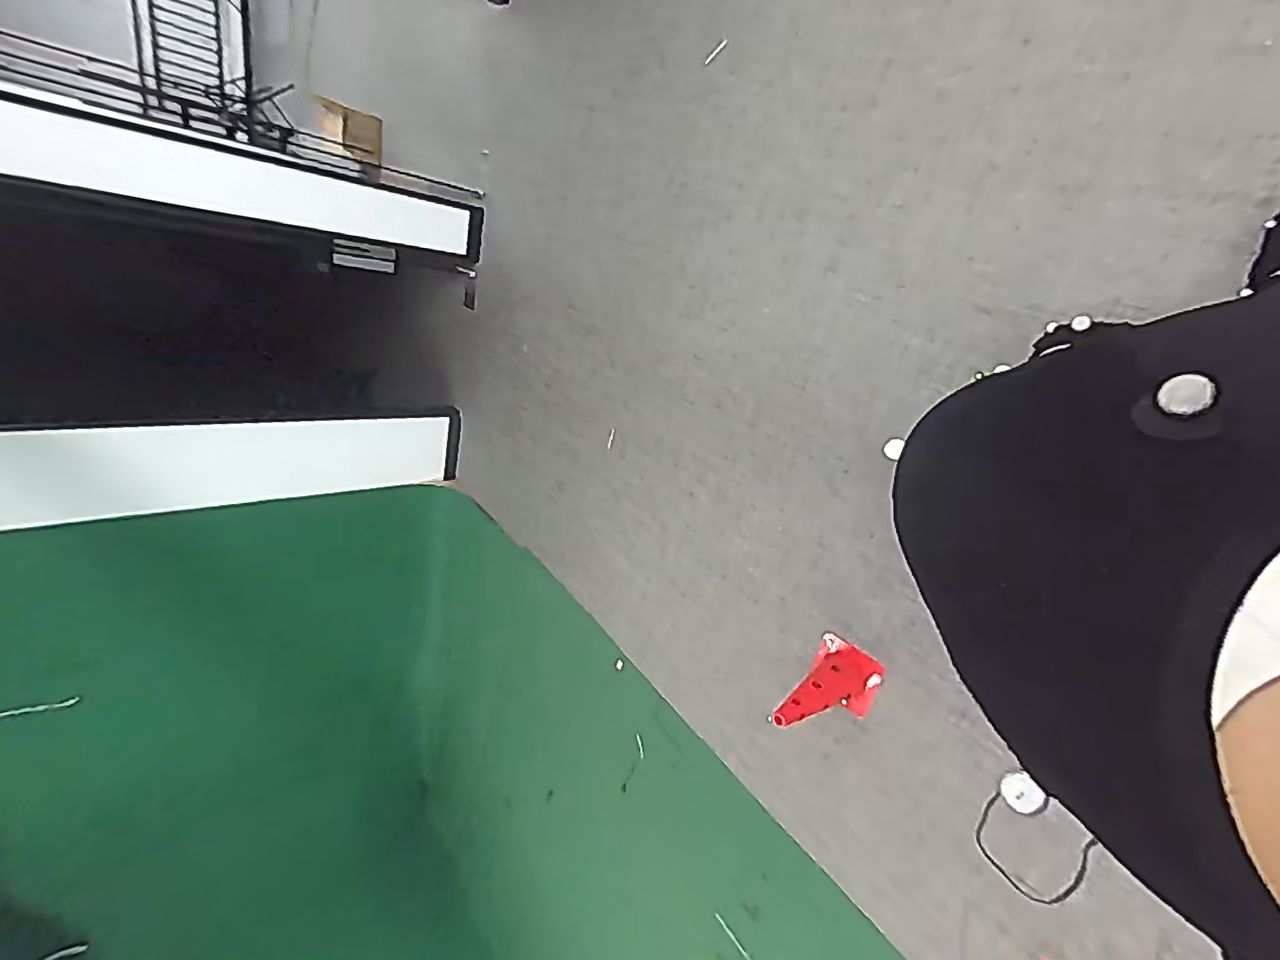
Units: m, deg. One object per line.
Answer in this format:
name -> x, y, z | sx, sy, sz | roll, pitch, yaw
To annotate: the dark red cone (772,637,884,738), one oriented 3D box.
dark red cone -> 0.498, 0.619, 1.518 | 0.202, 0.394, 0.201 | 30, 119, 42
